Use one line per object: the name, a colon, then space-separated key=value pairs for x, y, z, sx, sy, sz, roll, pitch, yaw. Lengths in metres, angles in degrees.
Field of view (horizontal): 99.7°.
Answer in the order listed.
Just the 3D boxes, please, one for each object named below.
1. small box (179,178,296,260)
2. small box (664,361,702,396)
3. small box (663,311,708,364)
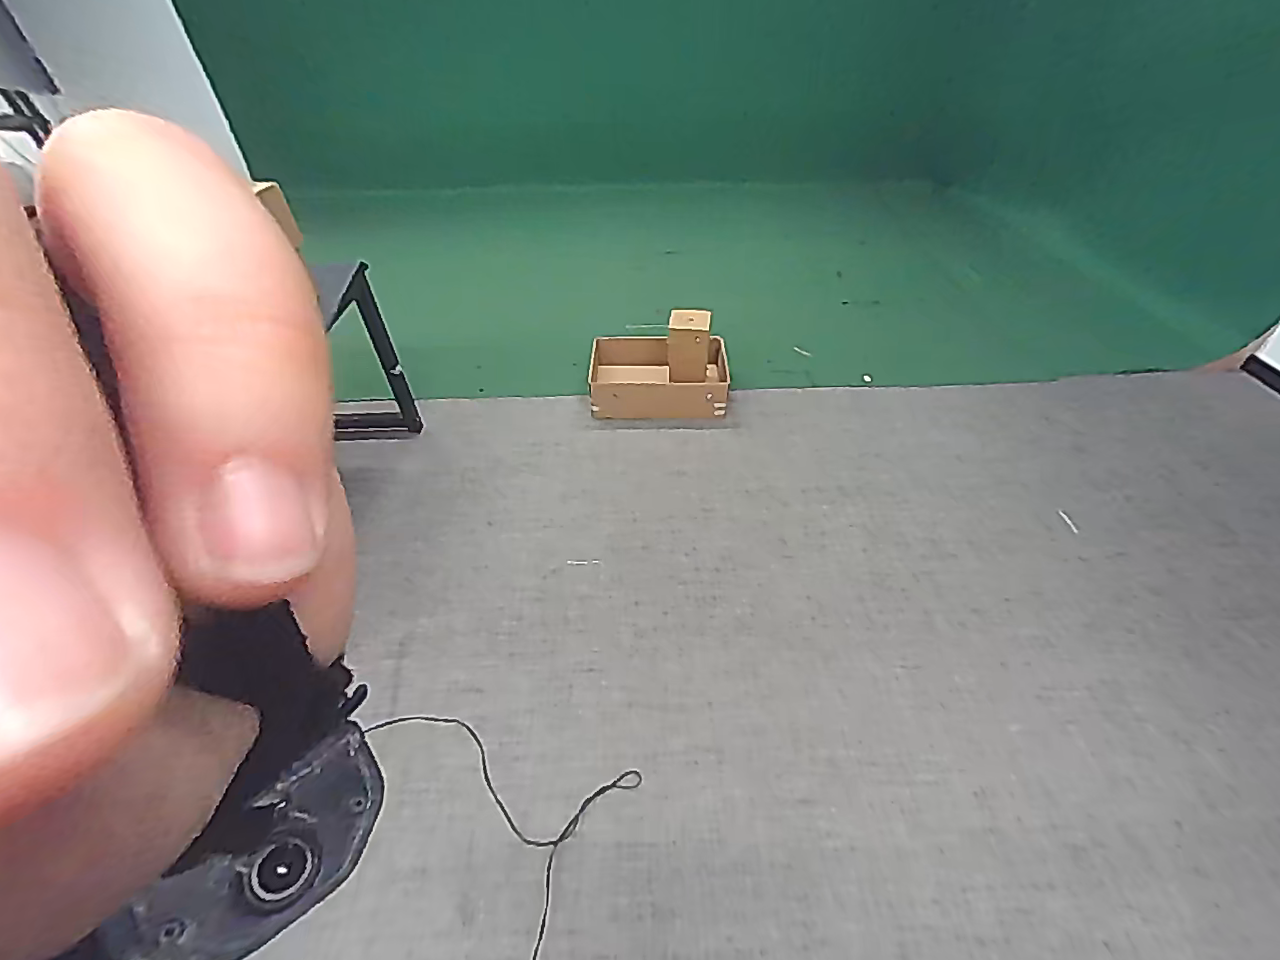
small box: x=-1.116 y=-0.734 z=1.521 sx=0.168 sy=0.176 sz=0.179 roll=3 pitch=45 yaw=4
small box: x=0.201 y=-0.510 z=2.494 sx=0.168 sy=0.176 sz=0.179 roll=4 pitch=46 yaw=6
small box: x=0.199 y=-0.624 z=2.375 sx=0.179 sy=0.176 sz=0.168 roll=5 pitch=45 yaw=7
